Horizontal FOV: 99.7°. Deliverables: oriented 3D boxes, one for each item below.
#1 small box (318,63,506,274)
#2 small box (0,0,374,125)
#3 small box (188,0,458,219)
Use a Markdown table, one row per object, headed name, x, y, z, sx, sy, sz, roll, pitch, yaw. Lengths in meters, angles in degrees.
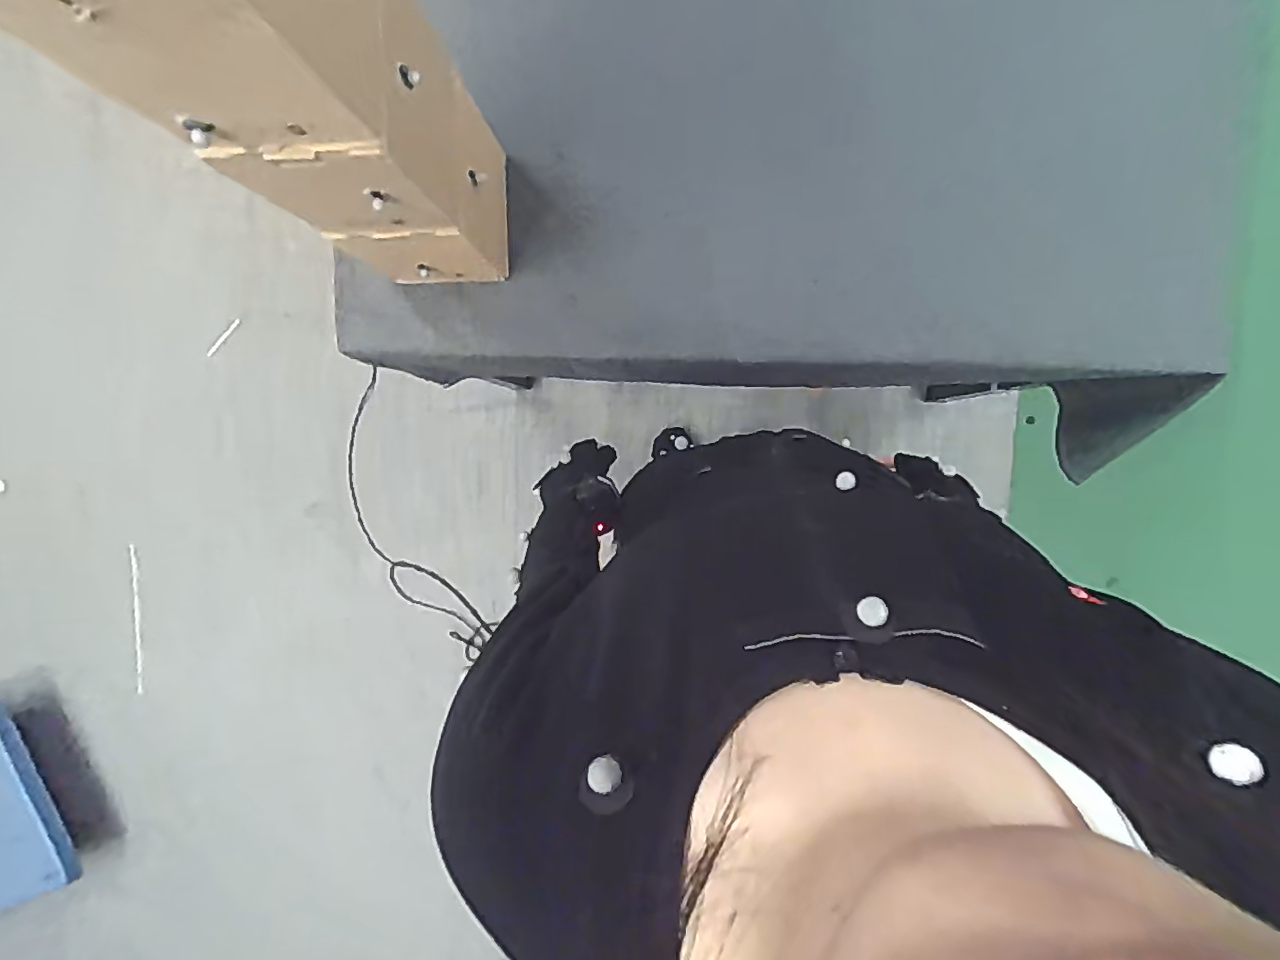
| name | x | y | z | sx | sy | sz | roll | pitch | yaw |
| --- | --- | --- | --- | --- | --- | --- | --- | --- | --- |
| small box | -0.274 | -0.373 | 0.676 | 0.168 | 0.176 | 0.179 | 0 | 95 | 4 |
| small box | -0.295 | -0.360 | 0.350 | 0.168 | 0.176 | 0.179 | -1 | 94 | 3 |
| small box | -0.283 | -0.364 | 0.514 | 0.168 | 0.176 | 0.179 | 1 | 94 | 3 |
